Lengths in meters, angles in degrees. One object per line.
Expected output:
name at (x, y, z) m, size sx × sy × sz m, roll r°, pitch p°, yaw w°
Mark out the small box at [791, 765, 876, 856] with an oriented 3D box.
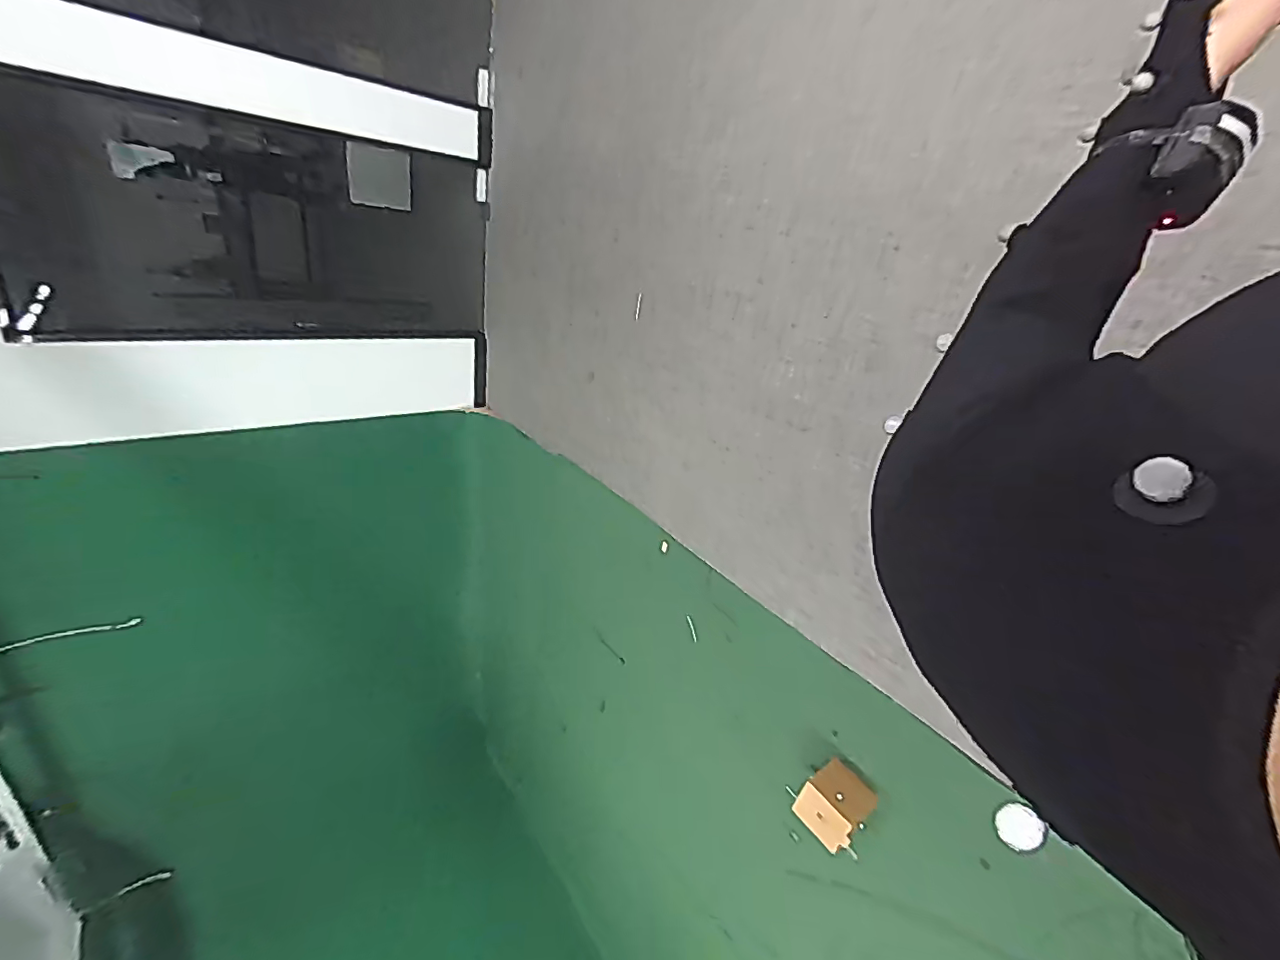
small box at (0.641, 1.083, 1.794) m, size 0.179 × 0.176 × 0.168 m, roll 38°, pitch 126°, yaw 39°
